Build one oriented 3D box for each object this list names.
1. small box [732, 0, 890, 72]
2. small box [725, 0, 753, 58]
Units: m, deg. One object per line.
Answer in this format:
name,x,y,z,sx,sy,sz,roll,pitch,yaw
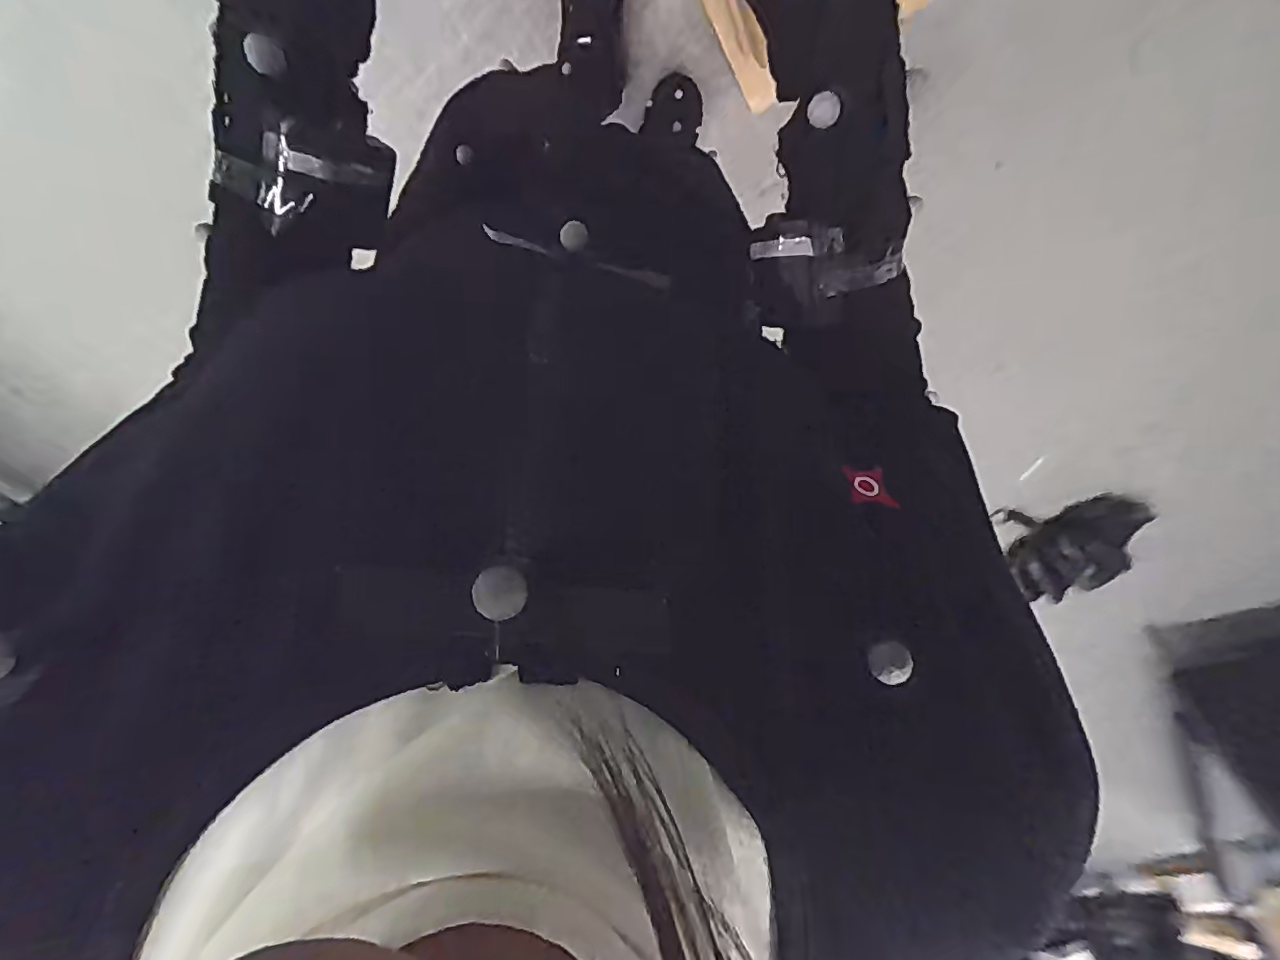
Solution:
small box,0.164,-0.548,0.530,0.168,0.176,0.179,-18,125,22
small box,0.175,-0.656,0.654,0.168,0.176,0.179,-17,128,22
